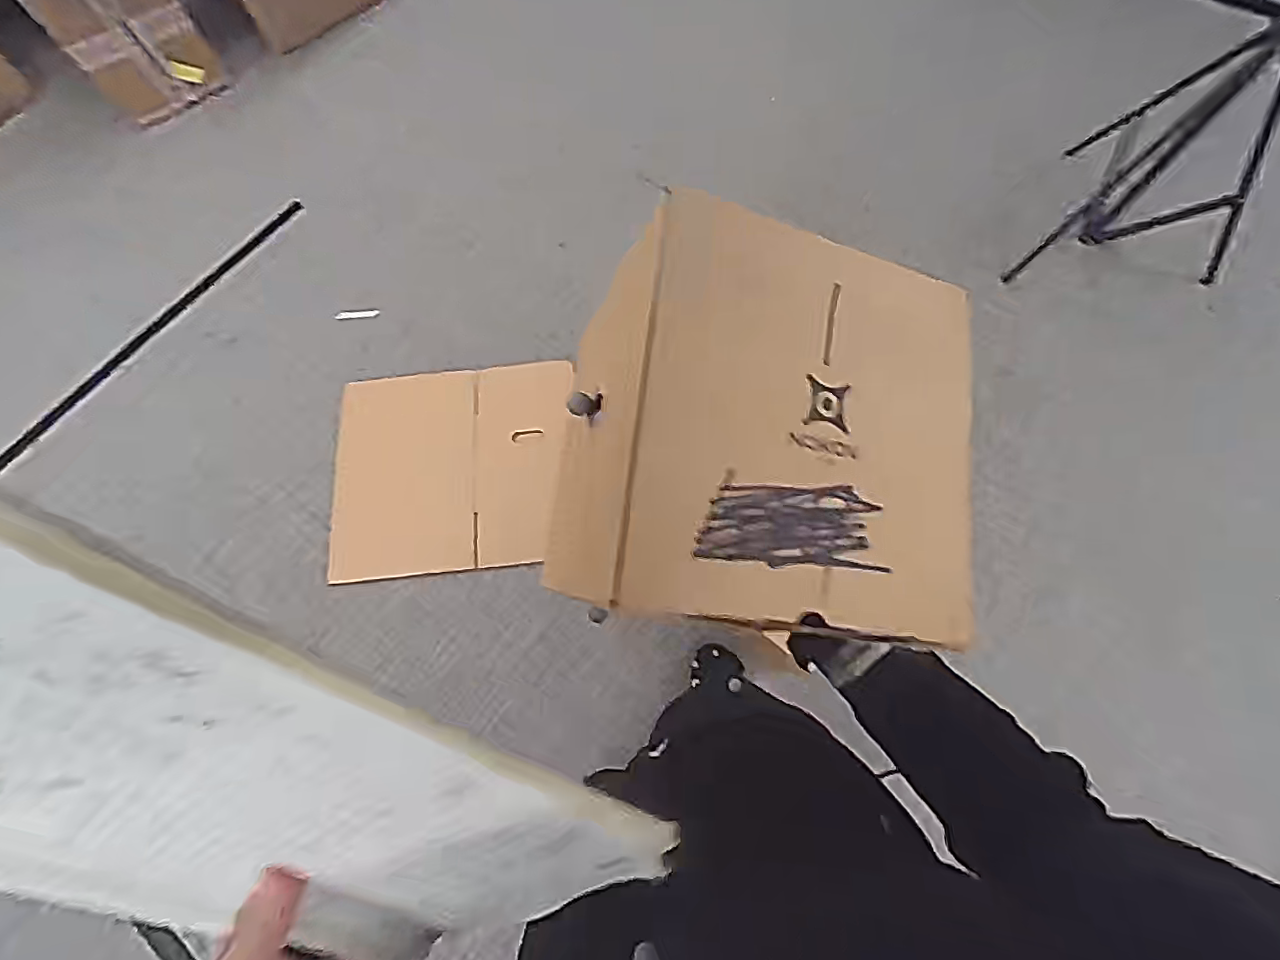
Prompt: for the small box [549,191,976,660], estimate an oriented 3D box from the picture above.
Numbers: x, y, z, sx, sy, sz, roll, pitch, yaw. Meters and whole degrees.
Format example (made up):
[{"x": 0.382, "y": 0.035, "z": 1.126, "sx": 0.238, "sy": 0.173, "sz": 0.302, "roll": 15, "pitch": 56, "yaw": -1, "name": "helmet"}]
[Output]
[{"x": 0.050, "y": -0.009, "z": 0.303, "sx": 0.168, "sy": 0.176, "sz": 0.179, "roll": 11, "pitch": 78, "yaw": -17, "name": "small box"}]
